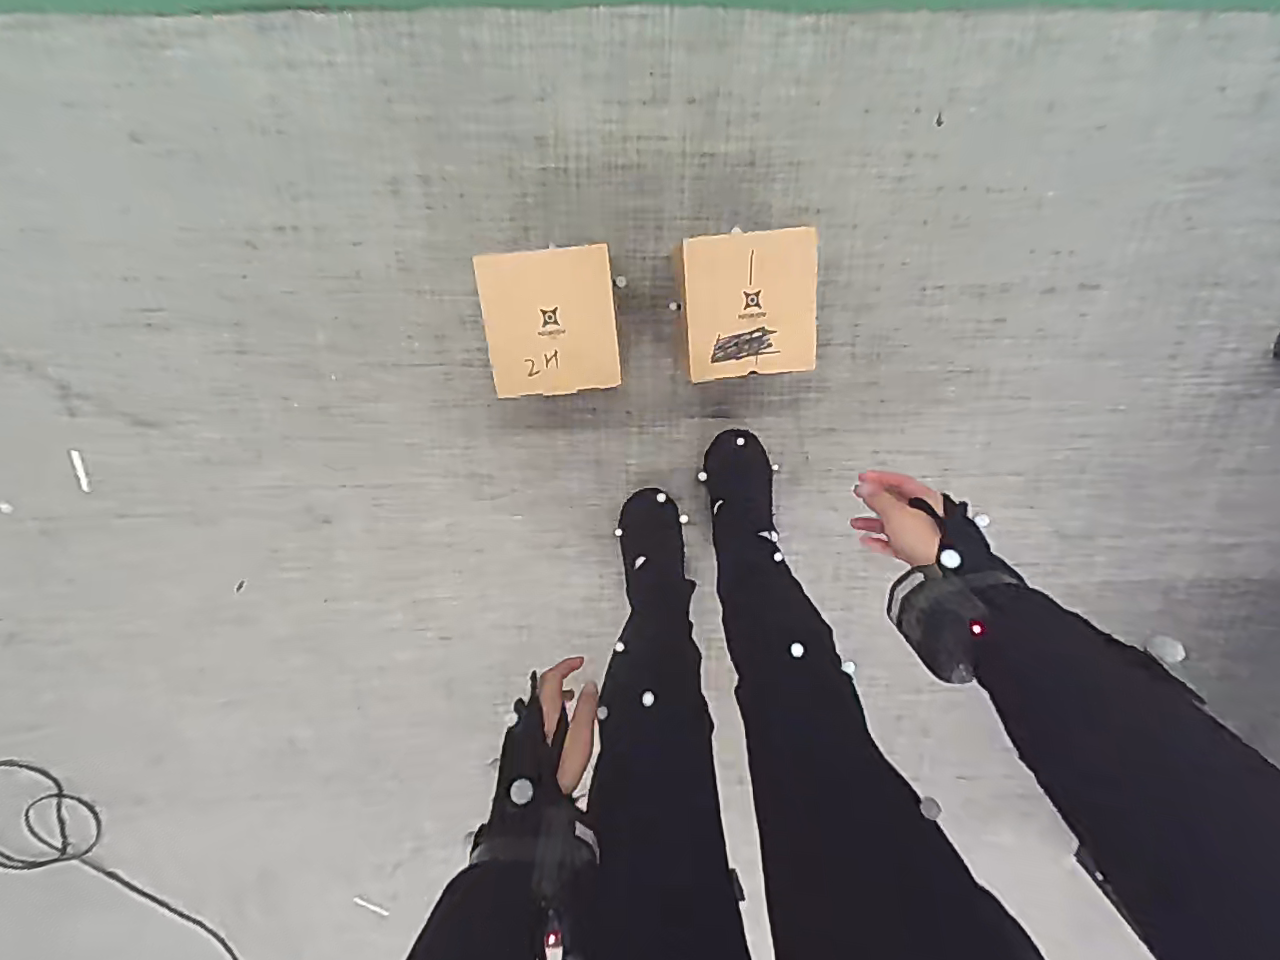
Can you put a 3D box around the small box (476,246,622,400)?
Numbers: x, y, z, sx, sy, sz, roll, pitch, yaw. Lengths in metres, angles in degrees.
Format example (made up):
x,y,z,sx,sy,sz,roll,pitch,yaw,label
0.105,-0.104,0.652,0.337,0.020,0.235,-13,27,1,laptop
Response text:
x,y,z,sx,sy,sz,roll,pitch,yaw,label
-0.114,-0.217,0.754,0.168,0.176,0.179,-5,109,1,small box

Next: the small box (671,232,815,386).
x,y,z,sx,sy,sz,roll,pitch,yaw,label
0.134,-0.237,0.754,0.168,0.176,0.179,-5,108,0,small box
